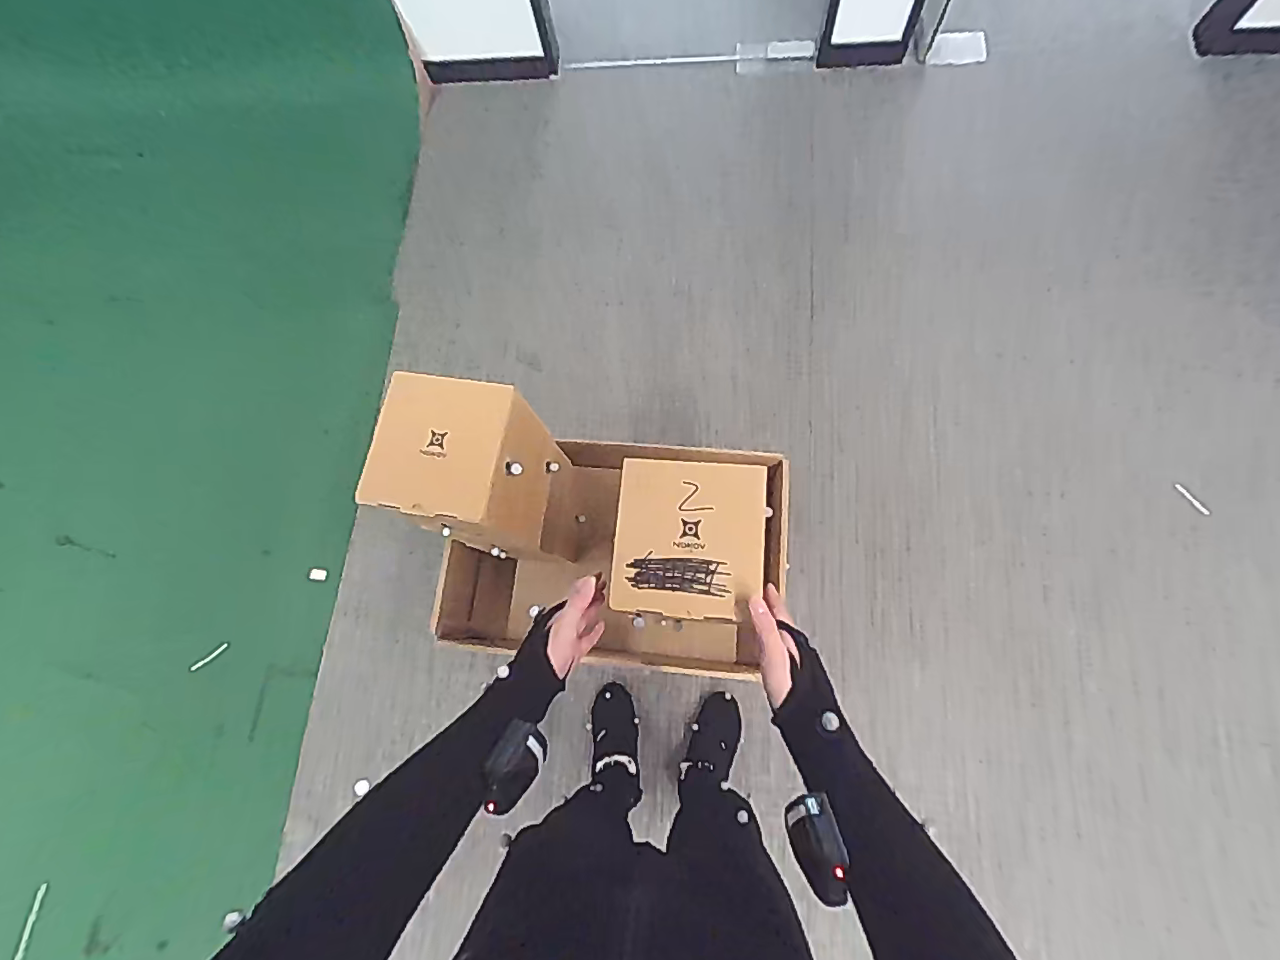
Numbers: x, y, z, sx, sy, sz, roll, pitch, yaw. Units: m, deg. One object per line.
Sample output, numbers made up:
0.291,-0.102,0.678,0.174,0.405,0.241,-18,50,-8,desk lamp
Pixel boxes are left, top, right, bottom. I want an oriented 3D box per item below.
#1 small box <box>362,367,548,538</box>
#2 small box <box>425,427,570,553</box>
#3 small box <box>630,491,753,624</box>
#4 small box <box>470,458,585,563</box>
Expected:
-0.234,-0.029,0.736,0.168,0.176,0.179,9,77,8,small box
-0.222,0.013,0.892,0.168,0.176,0.179,8,76,8,small box
0.080,0.124,0.832,0.168,0.176,0.179,3,76,7,small box
-0.209,0.056,1.050,0.168,0.176,0.179,6,75,7,small box
